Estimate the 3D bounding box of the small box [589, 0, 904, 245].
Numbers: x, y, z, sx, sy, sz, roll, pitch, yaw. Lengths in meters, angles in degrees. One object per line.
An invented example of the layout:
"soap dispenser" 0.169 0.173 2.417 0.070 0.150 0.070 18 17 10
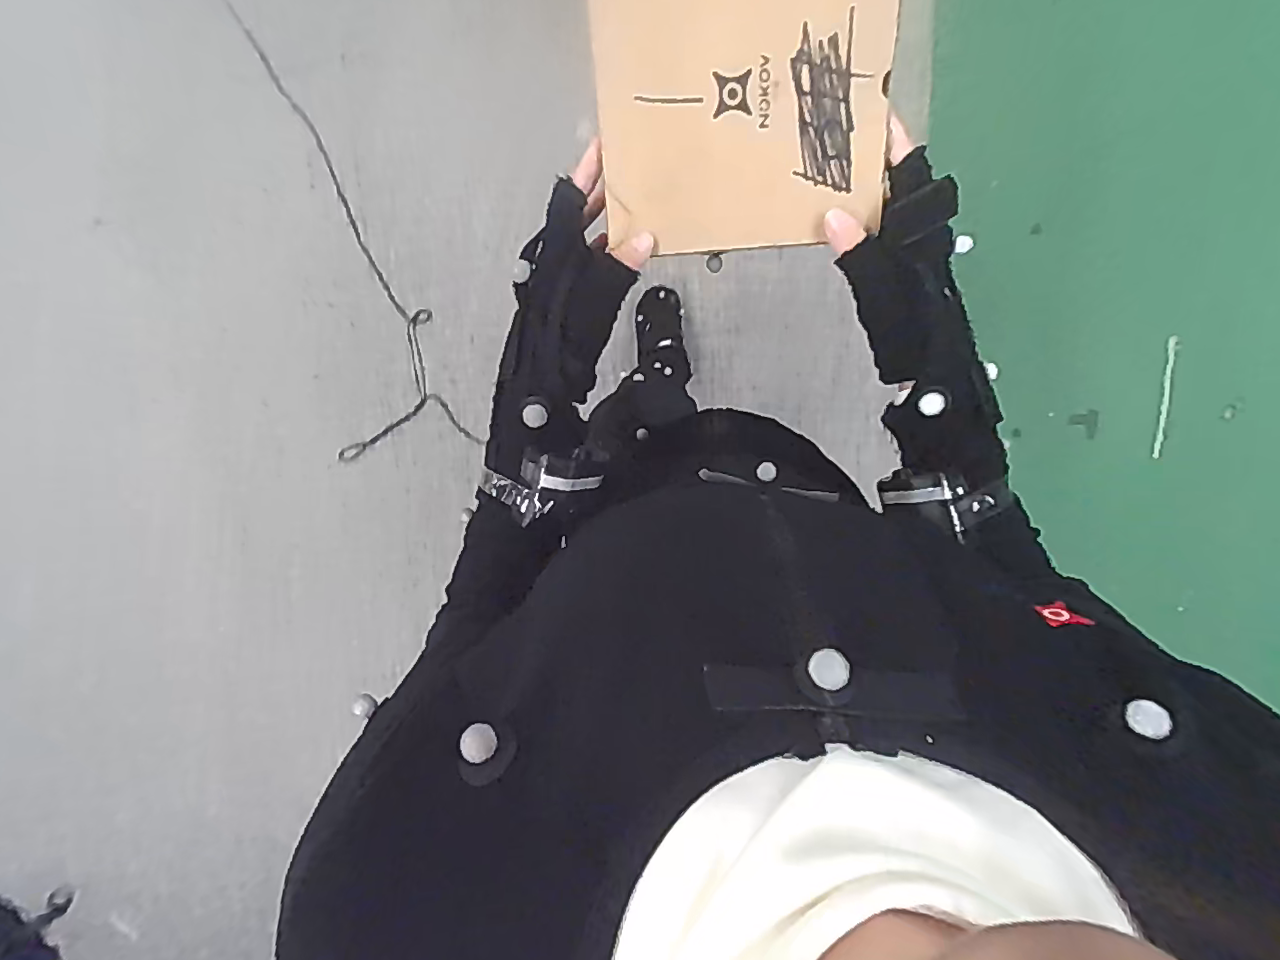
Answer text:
"small box" 0.060 -0.264 0.383 0.179 0.176 0.168 -4 114 1
